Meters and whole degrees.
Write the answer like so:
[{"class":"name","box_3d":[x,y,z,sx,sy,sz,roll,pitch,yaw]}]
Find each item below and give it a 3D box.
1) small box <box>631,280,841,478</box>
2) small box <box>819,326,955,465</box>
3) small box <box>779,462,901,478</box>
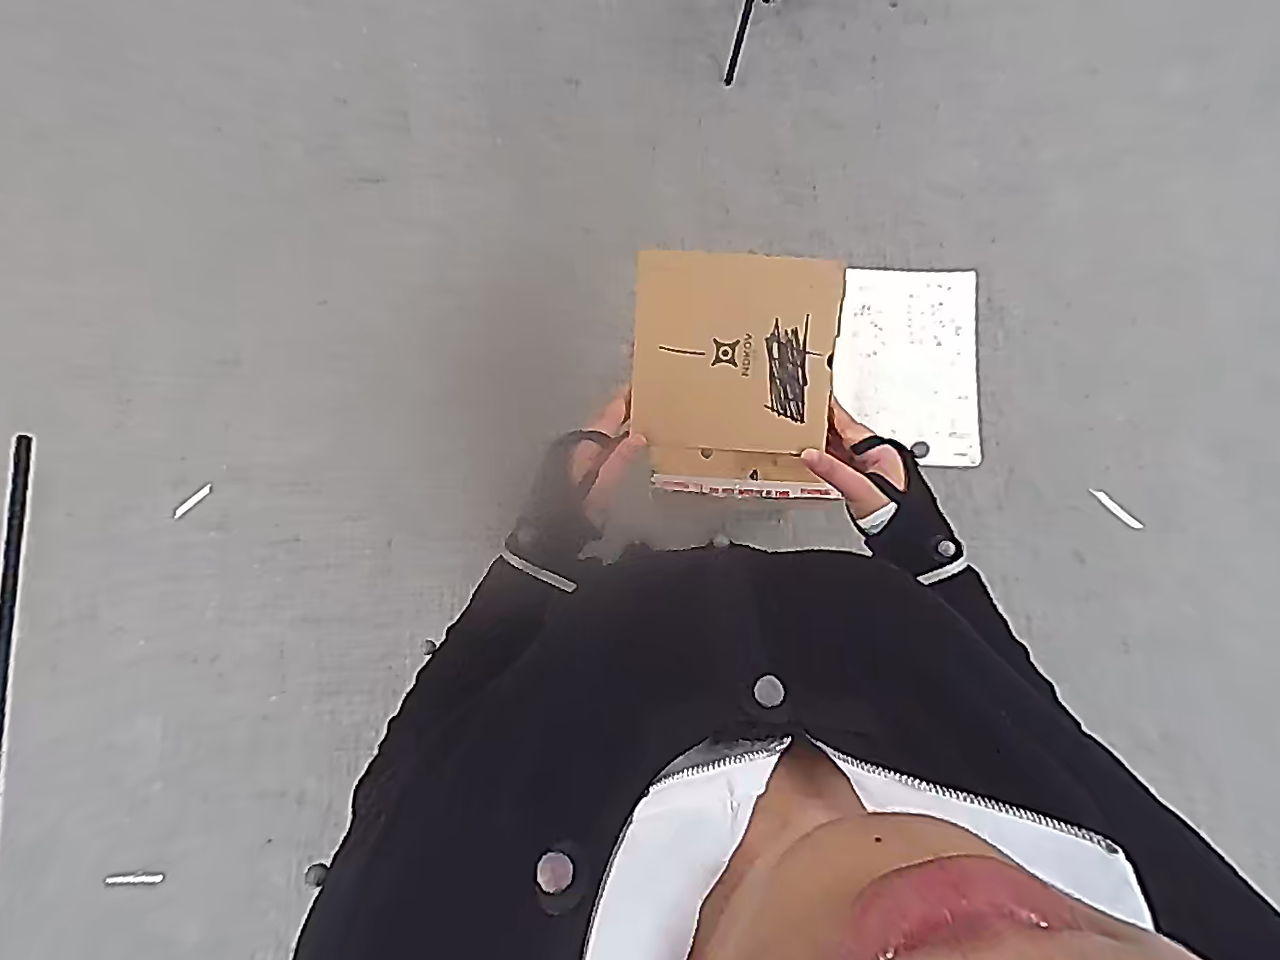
[{"class":"small box","box_3d":[0.084,-0.102,0.562,0.179,0.176,0.168,4,100,0]},{"class":"small box","box_3d":[0.348,-0.120,0.828,0.168,0.176,0.179,-1,84,-1]},{"class":"small box","box_3d":[0.349,-0.096,0.990,0.179,0.176,0.168,-4,84,-1]}]
